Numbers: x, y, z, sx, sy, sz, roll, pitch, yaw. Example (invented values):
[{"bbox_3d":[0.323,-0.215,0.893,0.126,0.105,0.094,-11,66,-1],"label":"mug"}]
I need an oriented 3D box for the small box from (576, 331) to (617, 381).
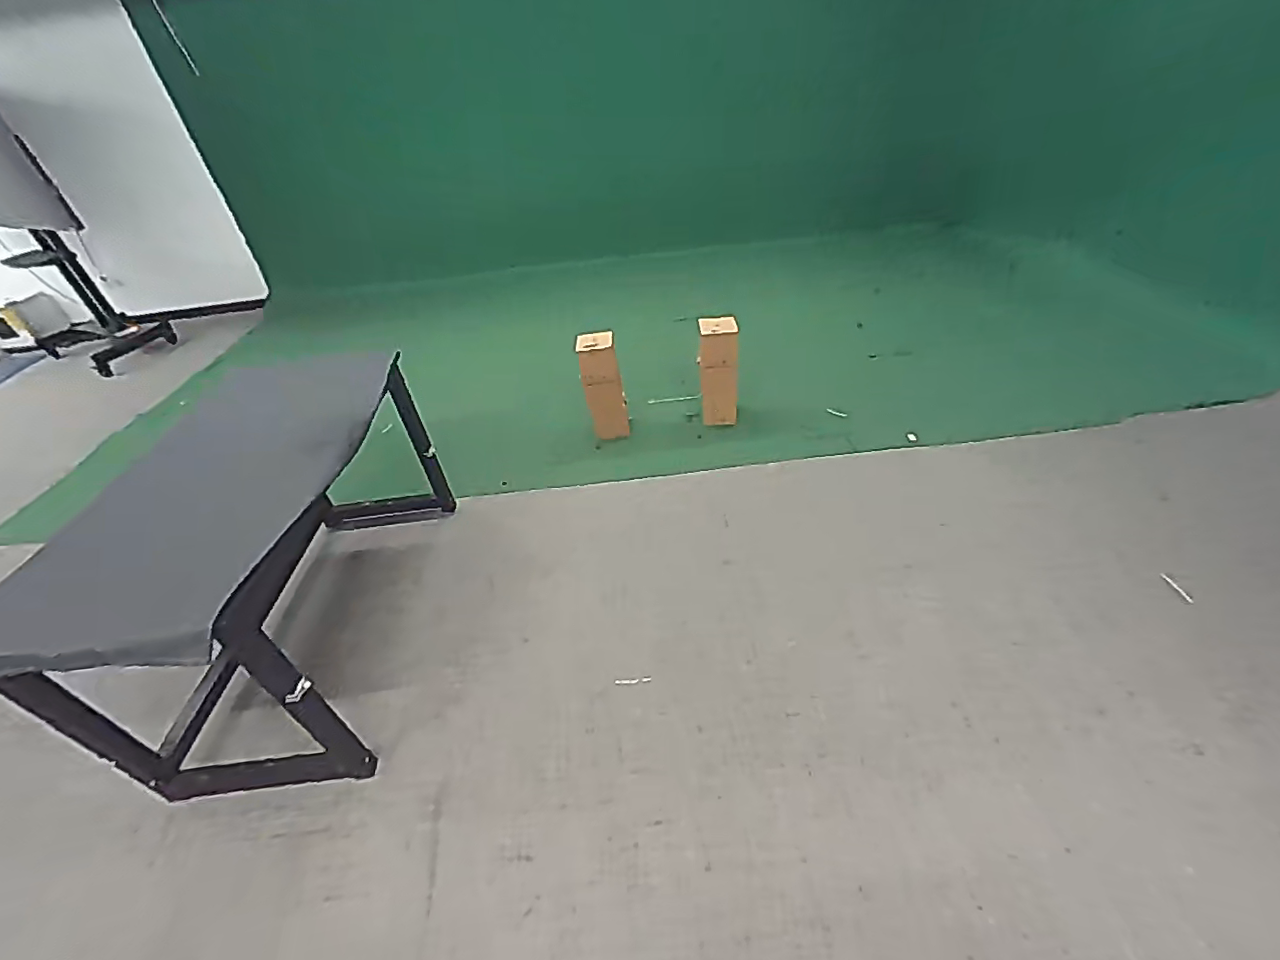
[{"bbox_3d":[-0.198,-0.568,2.502,0.168,0.176,0.179,-6,39,2],"label":"small box"}]

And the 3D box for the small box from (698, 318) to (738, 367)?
[{"bbox_3d":[0.358,-0.639,2.507,0.168,0.176,0.179,-3,38,3],"label":"small box"}]

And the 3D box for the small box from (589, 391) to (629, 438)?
[{"bbox_3d":[-0.156,-0.326,2.717,0.179,0.176,0.168,-7,40,0],"label":"small box"}]

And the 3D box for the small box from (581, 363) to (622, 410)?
[{"bbox_3d":[-0.184,-0.449,2.615,0.179,0.176,0.168,-5,40,2],"label":"small box"}]

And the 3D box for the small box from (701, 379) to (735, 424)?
[{"bbox_3d":[0.394,-0.392,2.721,0.168,0.176,0.179,-1,39,6],"label":"small box"}]
